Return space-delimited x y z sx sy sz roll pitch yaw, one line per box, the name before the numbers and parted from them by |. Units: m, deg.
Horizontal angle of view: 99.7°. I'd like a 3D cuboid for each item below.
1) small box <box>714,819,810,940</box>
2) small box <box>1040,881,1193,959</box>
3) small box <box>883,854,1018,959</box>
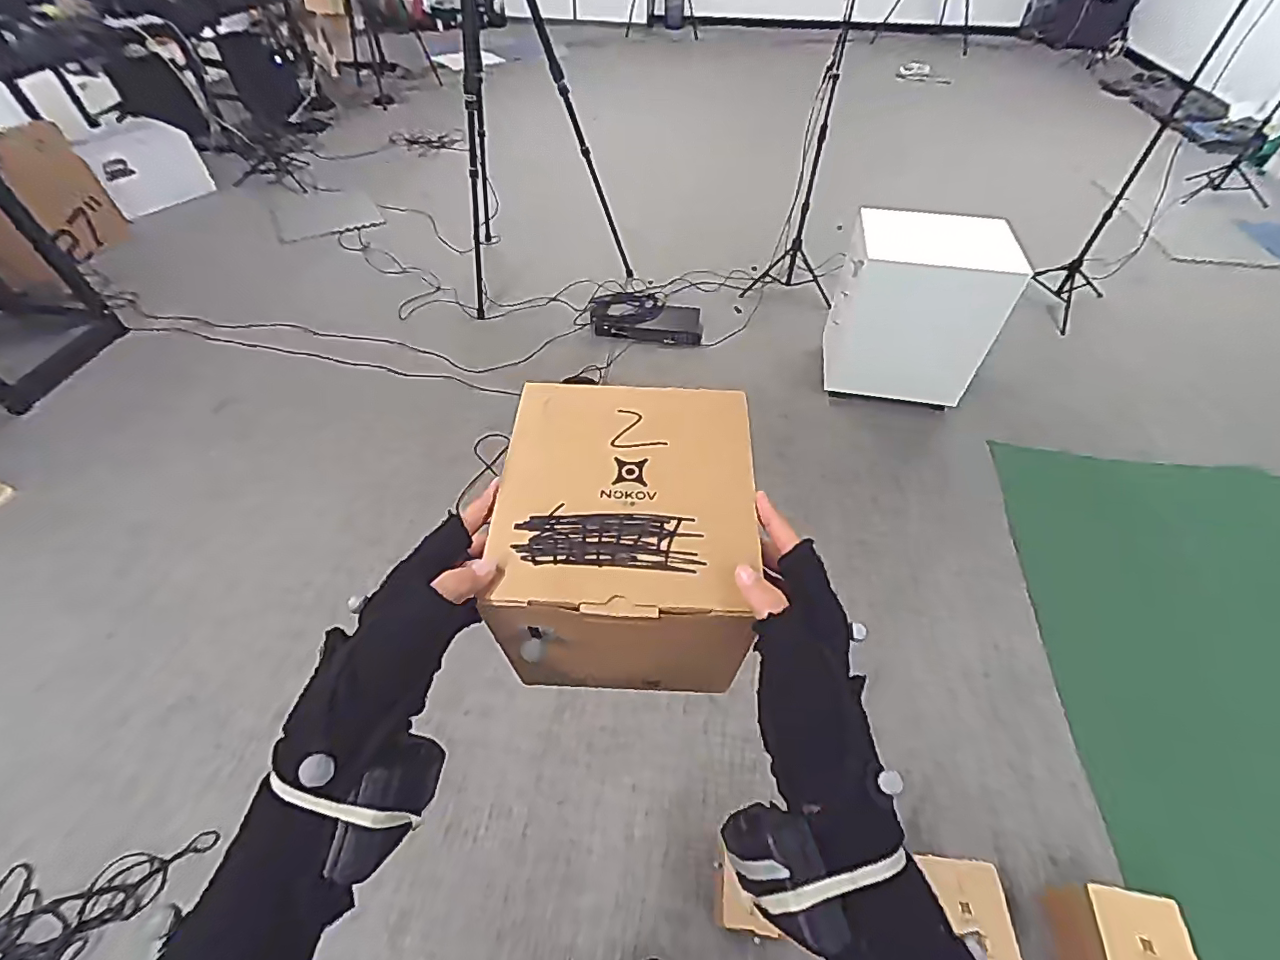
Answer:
small box | 0.246 0.832 1.125 0.168 0.176 0.179 5 50 5
small box | 0.937 0.921 1.065 0.168 0.176 0.179 8 50 7
small box | 0.617 0.880 1.093 0.168 0.176 0.179 4 49 2
